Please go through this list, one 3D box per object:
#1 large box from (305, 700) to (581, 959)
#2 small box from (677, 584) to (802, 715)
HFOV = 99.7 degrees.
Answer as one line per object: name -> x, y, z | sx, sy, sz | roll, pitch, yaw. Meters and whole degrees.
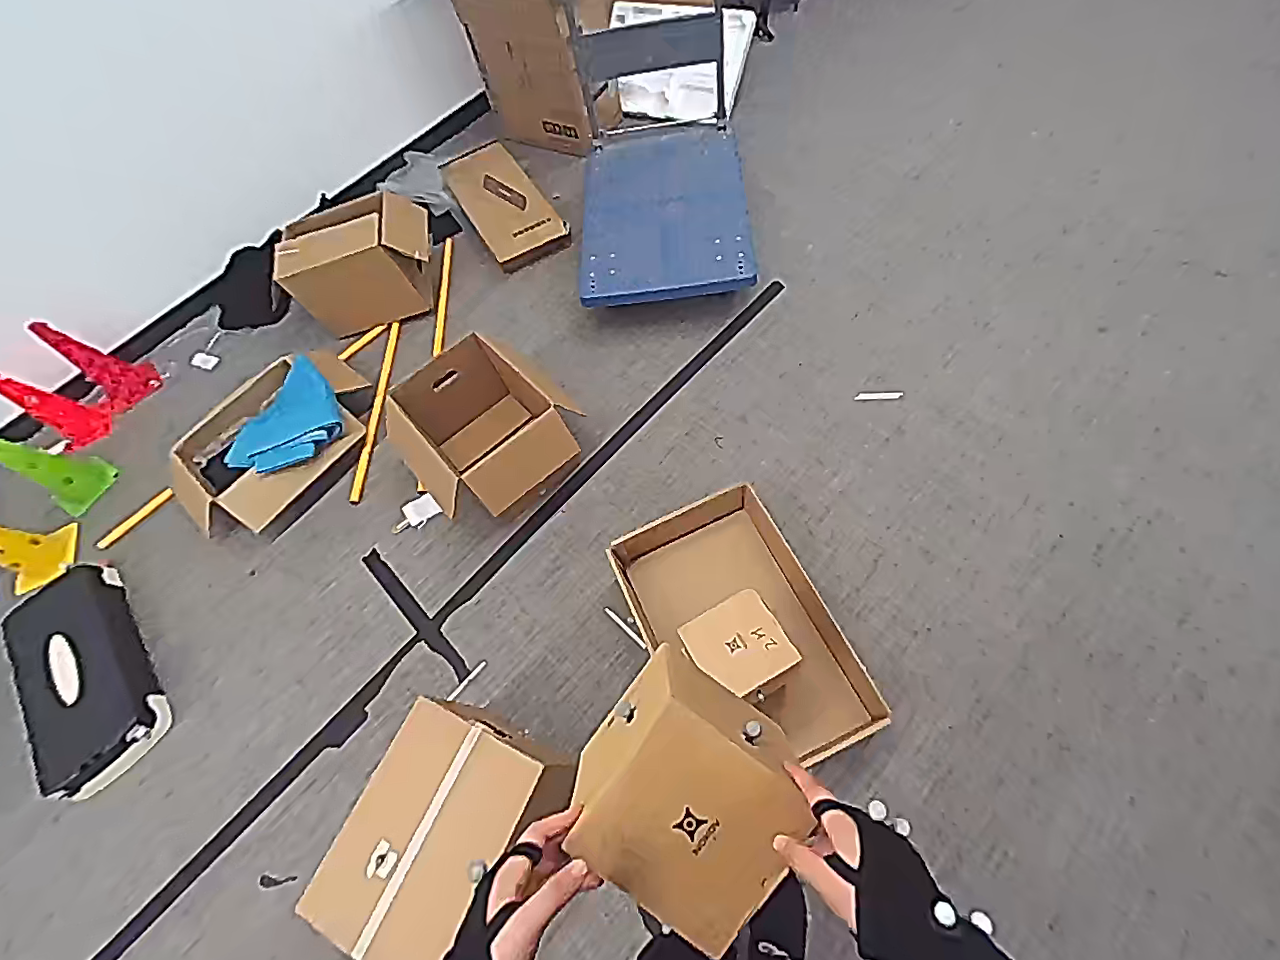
large box -> -0.369, 0.727, 1.130 | 0.320, 0.320, 0.408 | 18, 68, 19
small box -> 0.195, 0.341, 1.066 | 0.179, 0.176, 0.168 | -29, 59, -7
